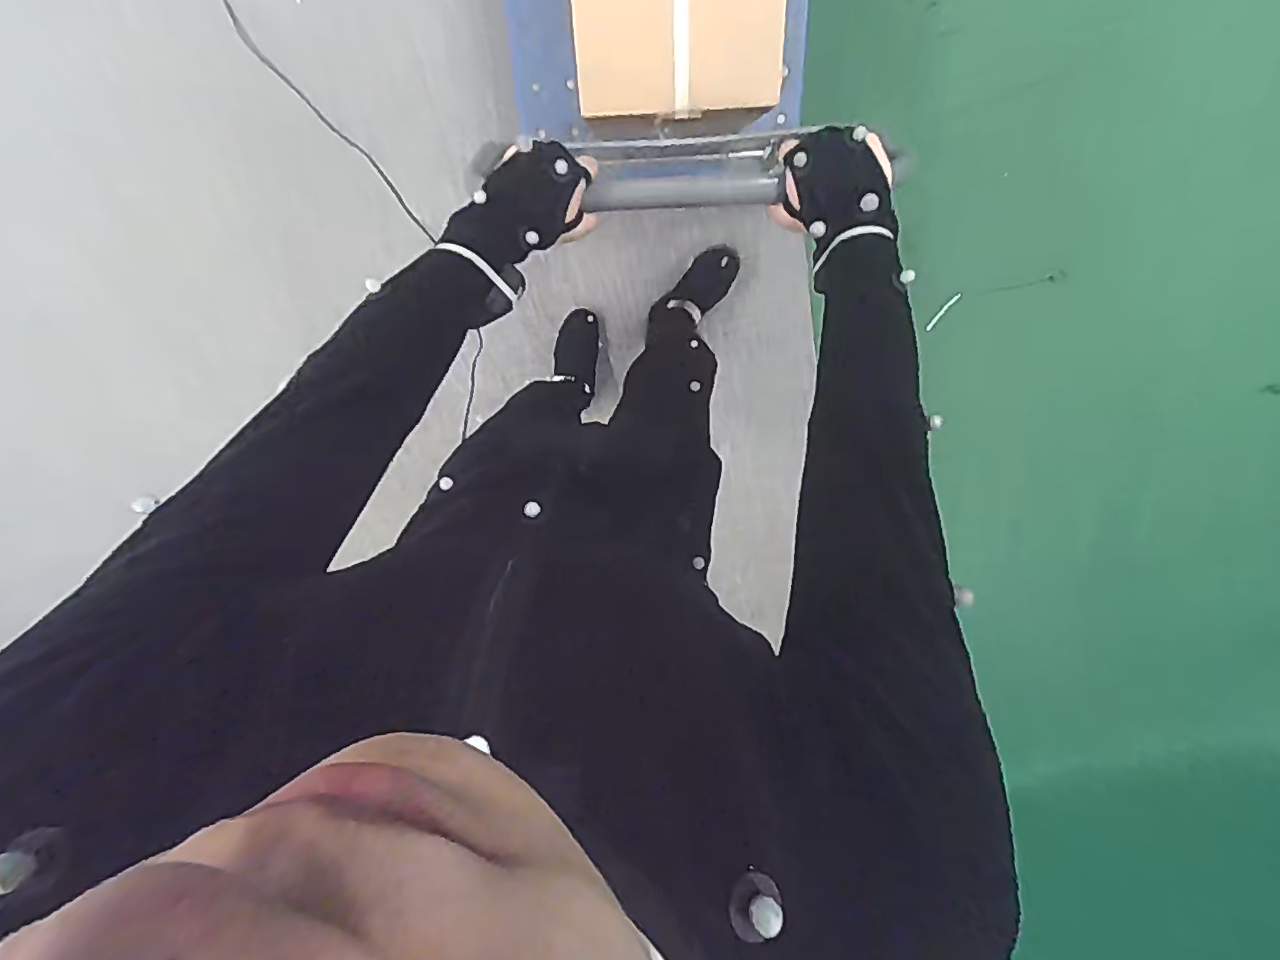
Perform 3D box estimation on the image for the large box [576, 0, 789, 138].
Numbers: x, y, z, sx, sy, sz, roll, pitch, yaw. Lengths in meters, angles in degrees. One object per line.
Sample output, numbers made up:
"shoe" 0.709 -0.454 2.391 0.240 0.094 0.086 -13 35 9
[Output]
"large box" 0.059 -0.823 0.885 0.320 0.320 0.408 -3 117 1
